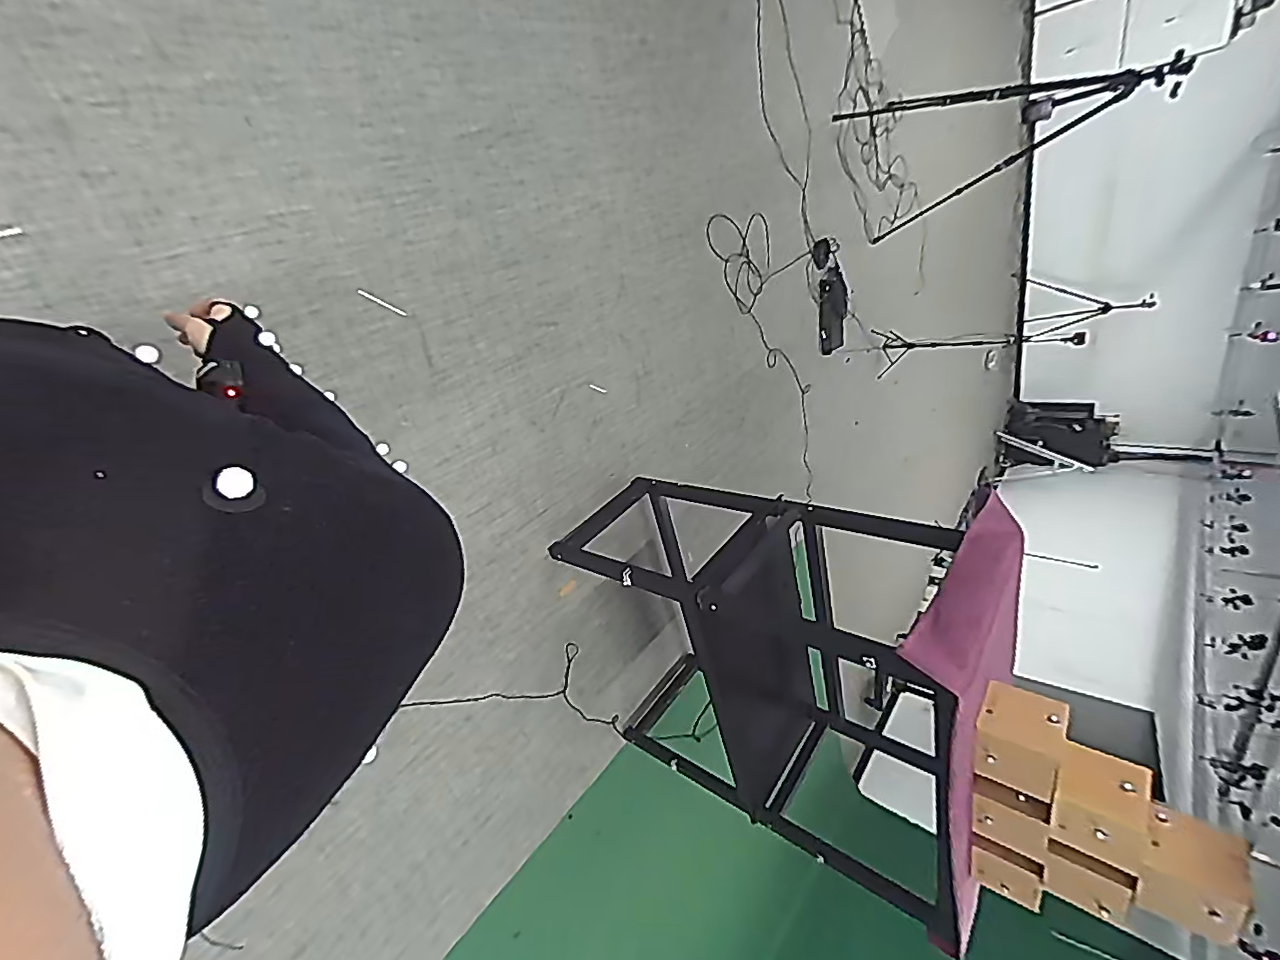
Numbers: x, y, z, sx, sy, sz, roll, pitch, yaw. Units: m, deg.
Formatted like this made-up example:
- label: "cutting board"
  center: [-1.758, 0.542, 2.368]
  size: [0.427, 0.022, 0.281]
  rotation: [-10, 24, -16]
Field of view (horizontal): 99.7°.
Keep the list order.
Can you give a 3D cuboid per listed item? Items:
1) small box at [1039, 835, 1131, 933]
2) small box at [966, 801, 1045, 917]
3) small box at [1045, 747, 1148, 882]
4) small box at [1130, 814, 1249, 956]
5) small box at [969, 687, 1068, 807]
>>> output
- label: "small box"
  center: [1.138, 0.986, 1.384]
  size: [0.168, 0.176, 0.179]
  rotation: [-37, 123, -39]
- label: "small box"
  center: [1.054, 1.083, 1.558]
  size: [0.179, 0.176, 0.168]
  rotation: [-35, 122, -40]
- label: "small box"
  center: [1.078, 0.782, 1.282]
  size: [0.179, 0.176, 0.168]
  rotation: [-36, 122, -38]
- label: "small box"
  center: [1.229, 0.899, 1.222]
  size: [0.168, 0.176, 0.179]
  rotation: [-38, 123, -38]
- label: "small box"
  center: [0.928, 0.649, 1.335]
  size: [0.168, 0.176, 0.179]
  rotation: [-38, 124, -38]
